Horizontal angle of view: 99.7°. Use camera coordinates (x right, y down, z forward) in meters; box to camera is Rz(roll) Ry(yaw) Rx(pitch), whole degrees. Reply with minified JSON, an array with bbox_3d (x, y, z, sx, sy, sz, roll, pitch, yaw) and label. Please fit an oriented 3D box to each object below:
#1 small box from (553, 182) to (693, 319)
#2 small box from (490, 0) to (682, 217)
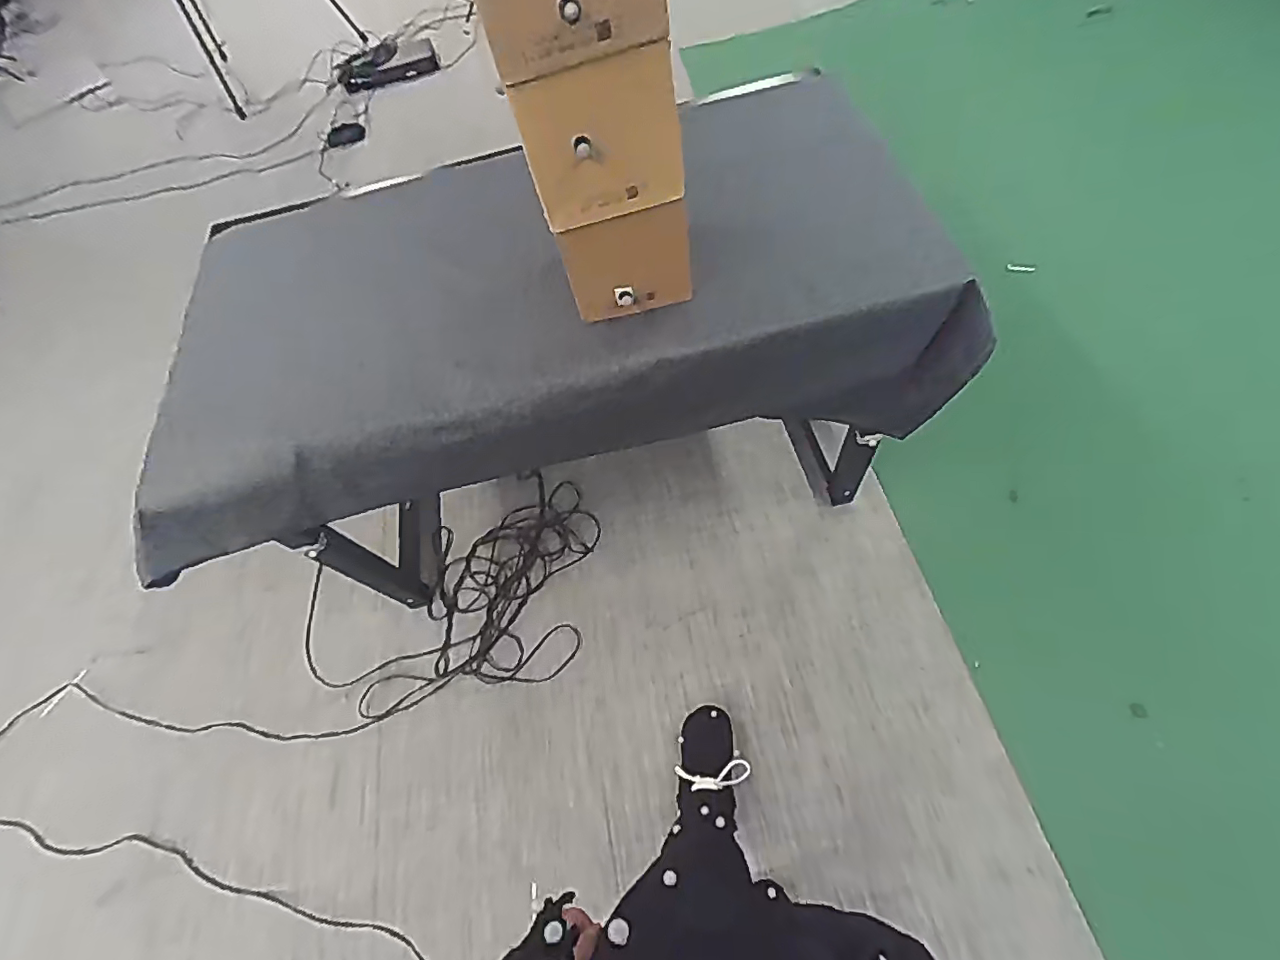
[{"bbox_3d":[-0.027,-0.361,0.759,0.168,0.176,0.179,-14,62,3],"label":"small box"},{"bbox_3d":[-0.054,-0.428,0.613,0.168,0.176,0.179,-15,60,3],"label":"small box"}]
